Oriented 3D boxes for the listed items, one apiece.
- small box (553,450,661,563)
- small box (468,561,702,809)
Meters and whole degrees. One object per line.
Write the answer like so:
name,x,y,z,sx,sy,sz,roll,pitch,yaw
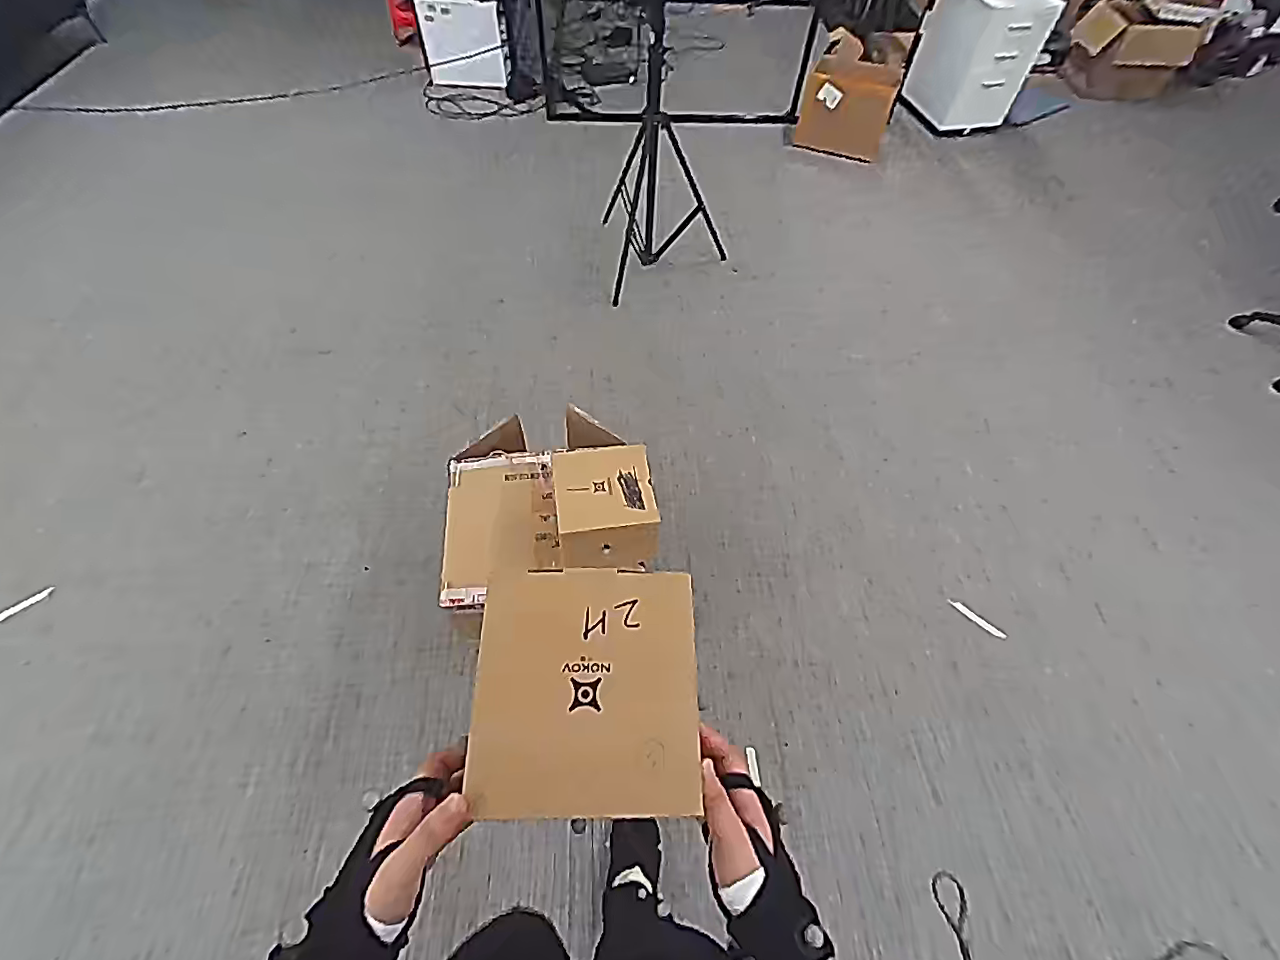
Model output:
small box,-0.067,0.062,1.022,0.179,0.176,0.168,-6,59,-7
small box,-0.041,0.182,0.479,0.168,0.176,0.179,1,62,-4
